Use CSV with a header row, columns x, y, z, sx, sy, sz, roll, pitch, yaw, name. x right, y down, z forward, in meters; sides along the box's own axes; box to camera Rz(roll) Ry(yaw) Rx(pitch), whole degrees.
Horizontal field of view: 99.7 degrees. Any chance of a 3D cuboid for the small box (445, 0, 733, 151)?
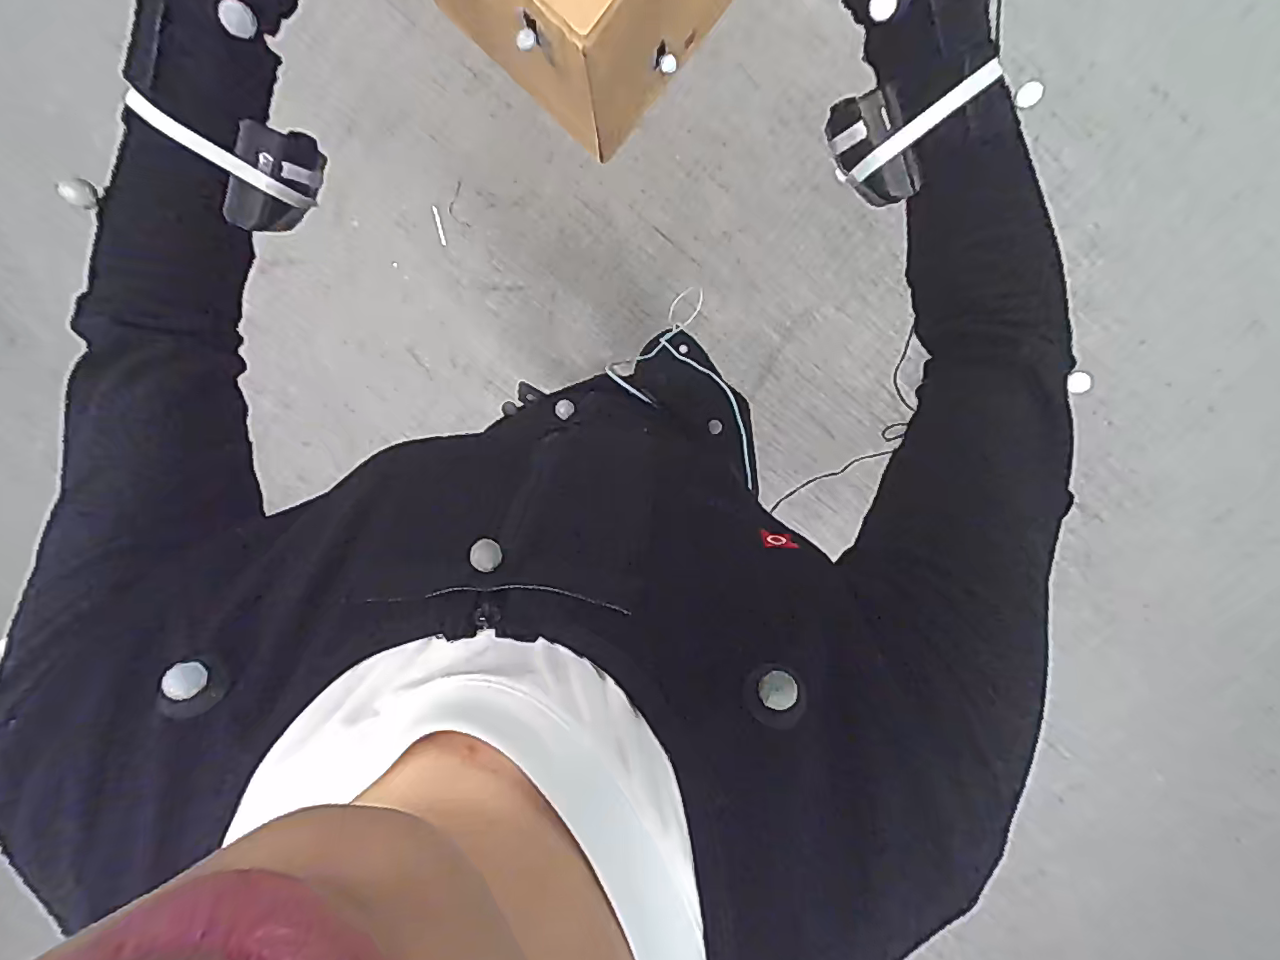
x,y,z,sx,sy,sz,roll,pitch,yaw,name
-0.039,-0.364,0.352,0.179,0.176,0.168,41,98,-8,small box
